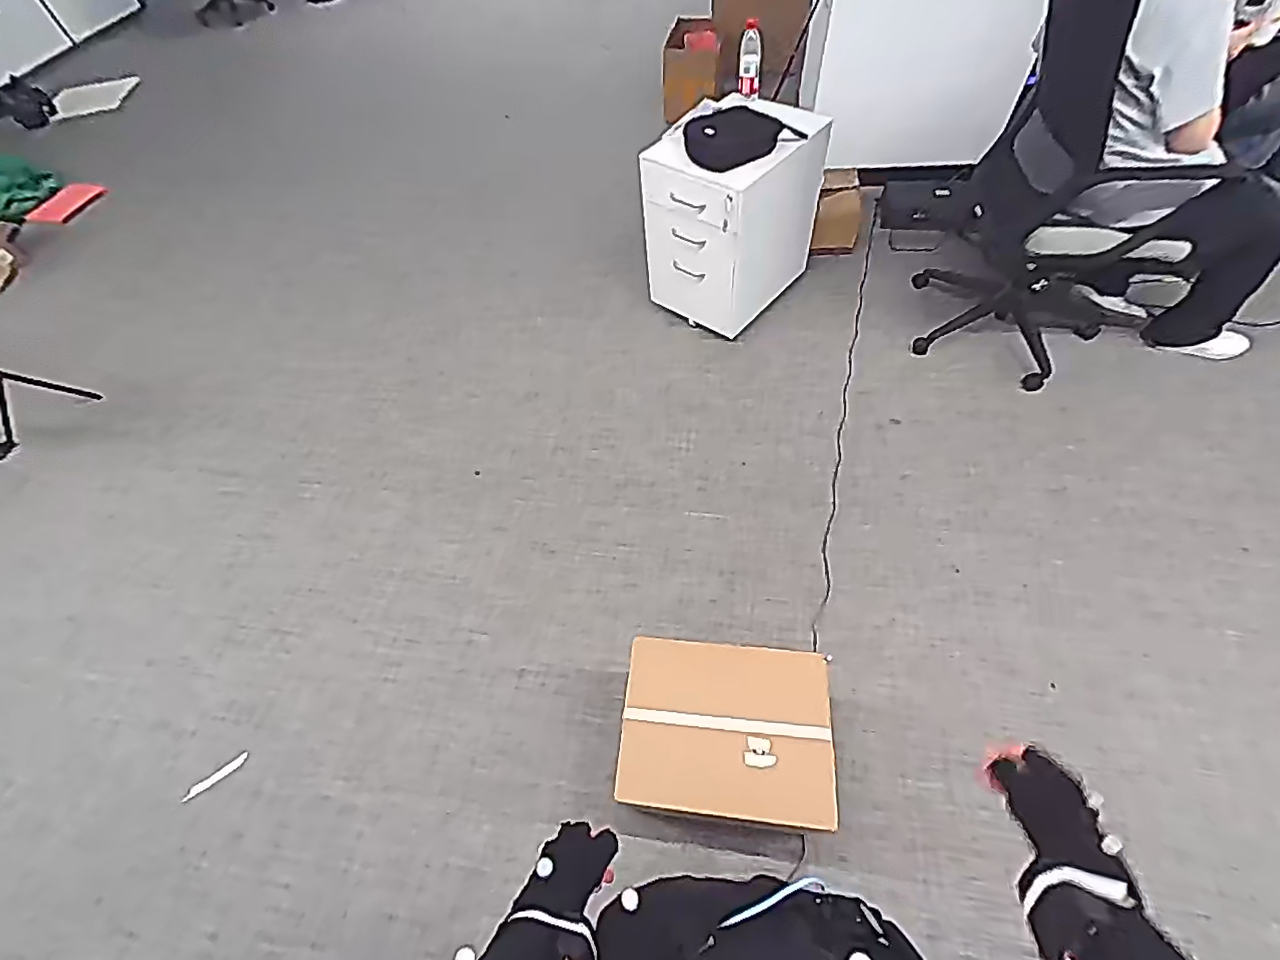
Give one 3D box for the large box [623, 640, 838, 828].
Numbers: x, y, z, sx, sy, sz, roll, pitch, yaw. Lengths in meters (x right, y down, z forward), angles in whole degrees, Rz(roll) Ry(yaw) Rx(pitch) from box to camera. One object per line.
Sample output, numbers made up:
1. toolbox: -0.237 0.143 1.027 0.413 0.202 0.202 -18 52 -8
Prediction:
1. large box: 0.187 0.567 1.200 0.408 0.320 0.320 3 58 8
